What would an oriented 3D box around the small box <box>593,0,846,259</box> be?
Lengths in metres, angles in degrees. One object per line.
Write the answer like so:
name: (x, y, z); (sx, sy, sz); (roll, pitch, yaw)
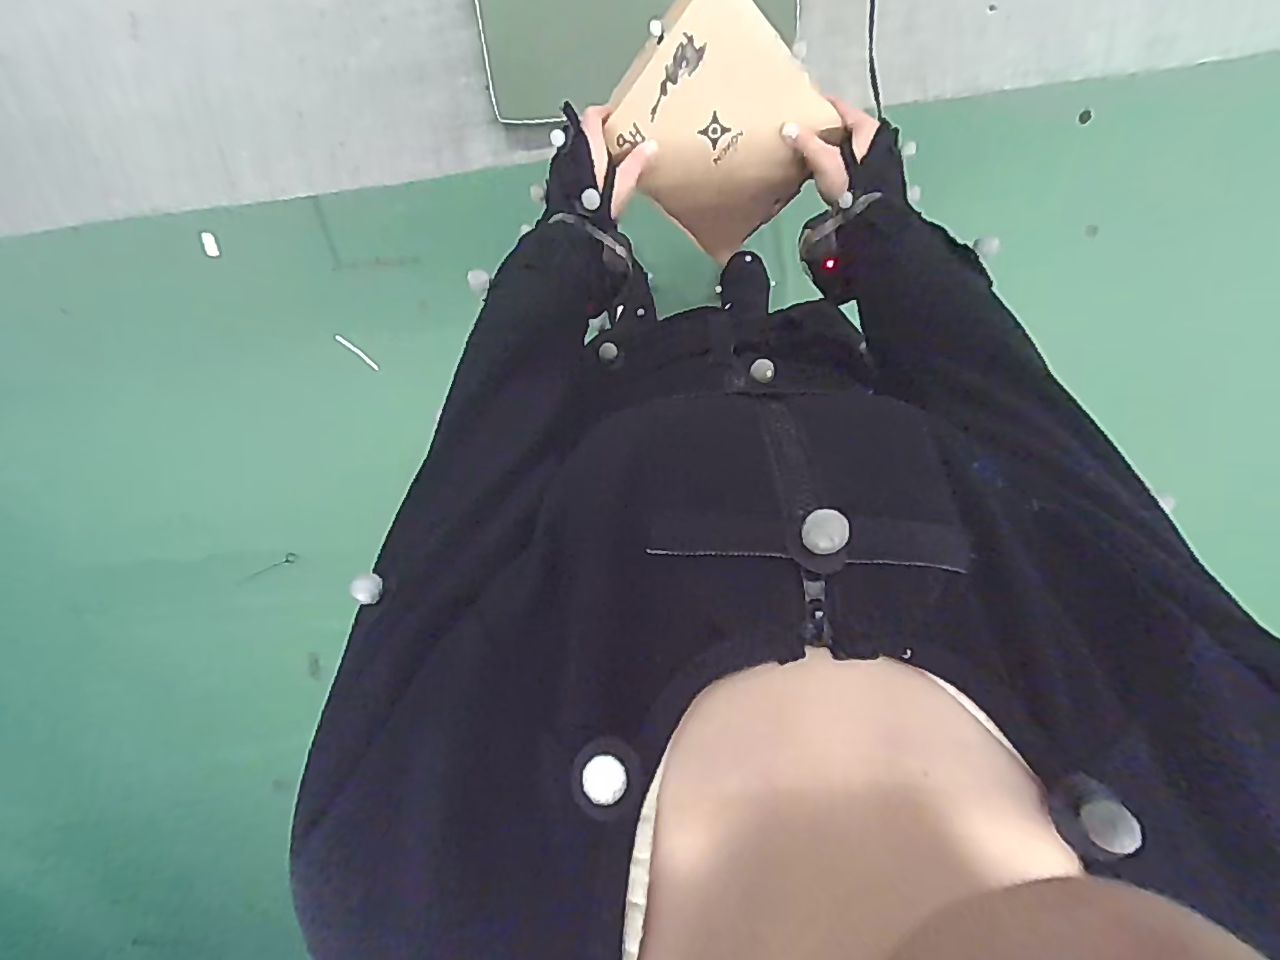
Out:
small box: (0.076, -0.374, 0.550); (0.179, 0.176, 0.168); (33, 128, -27)
